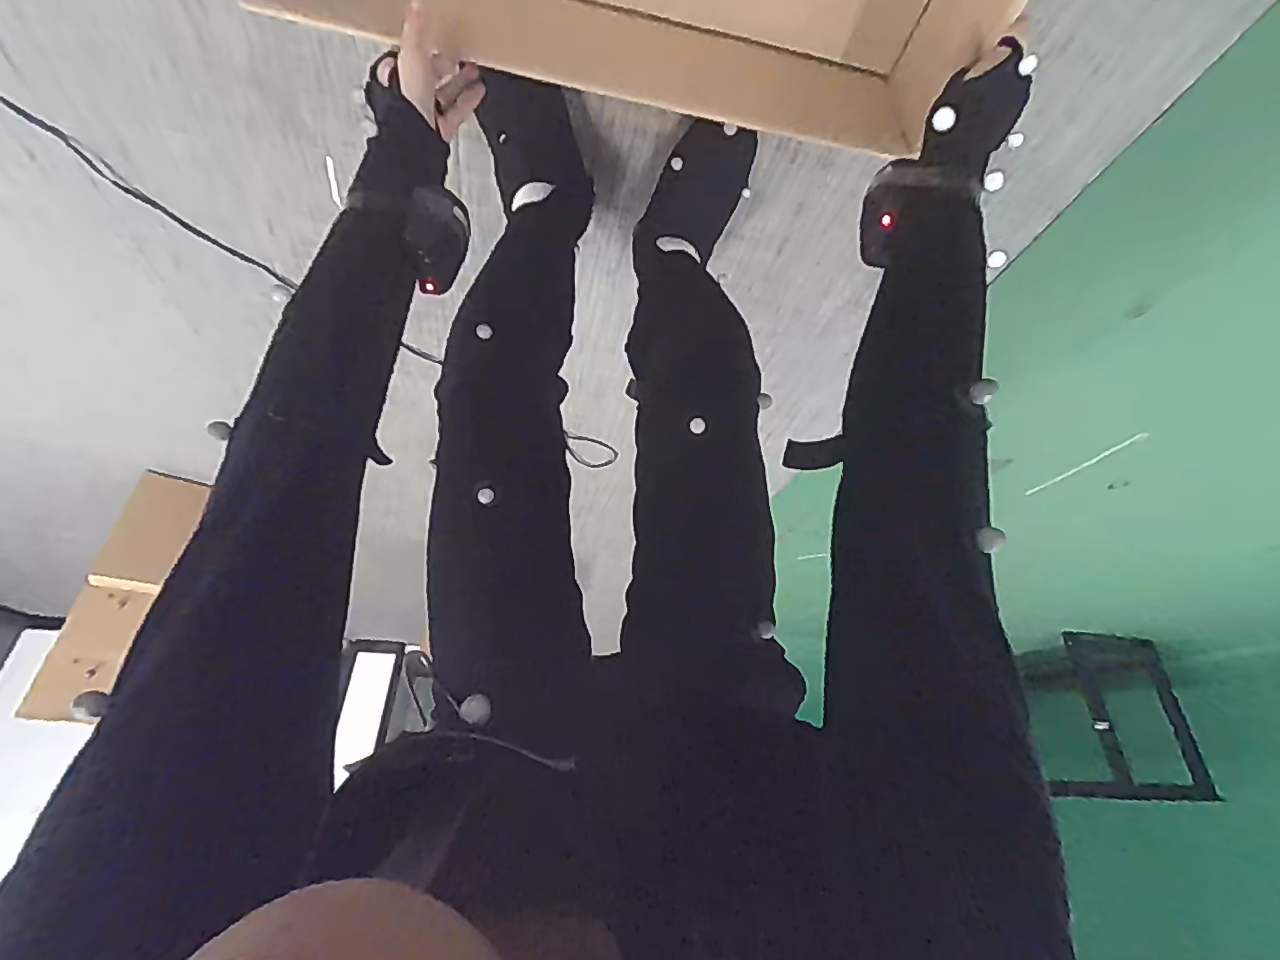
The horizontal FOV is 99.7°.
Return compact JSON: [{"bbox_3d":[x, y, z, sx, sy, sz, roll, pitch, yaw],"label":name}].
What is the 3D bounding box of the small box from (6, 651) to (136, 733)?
[{"bbox_3d":[-1.453,0.551,1.398,0.168,0.176,0.179,19,146,-27],"label":"small box"}]
